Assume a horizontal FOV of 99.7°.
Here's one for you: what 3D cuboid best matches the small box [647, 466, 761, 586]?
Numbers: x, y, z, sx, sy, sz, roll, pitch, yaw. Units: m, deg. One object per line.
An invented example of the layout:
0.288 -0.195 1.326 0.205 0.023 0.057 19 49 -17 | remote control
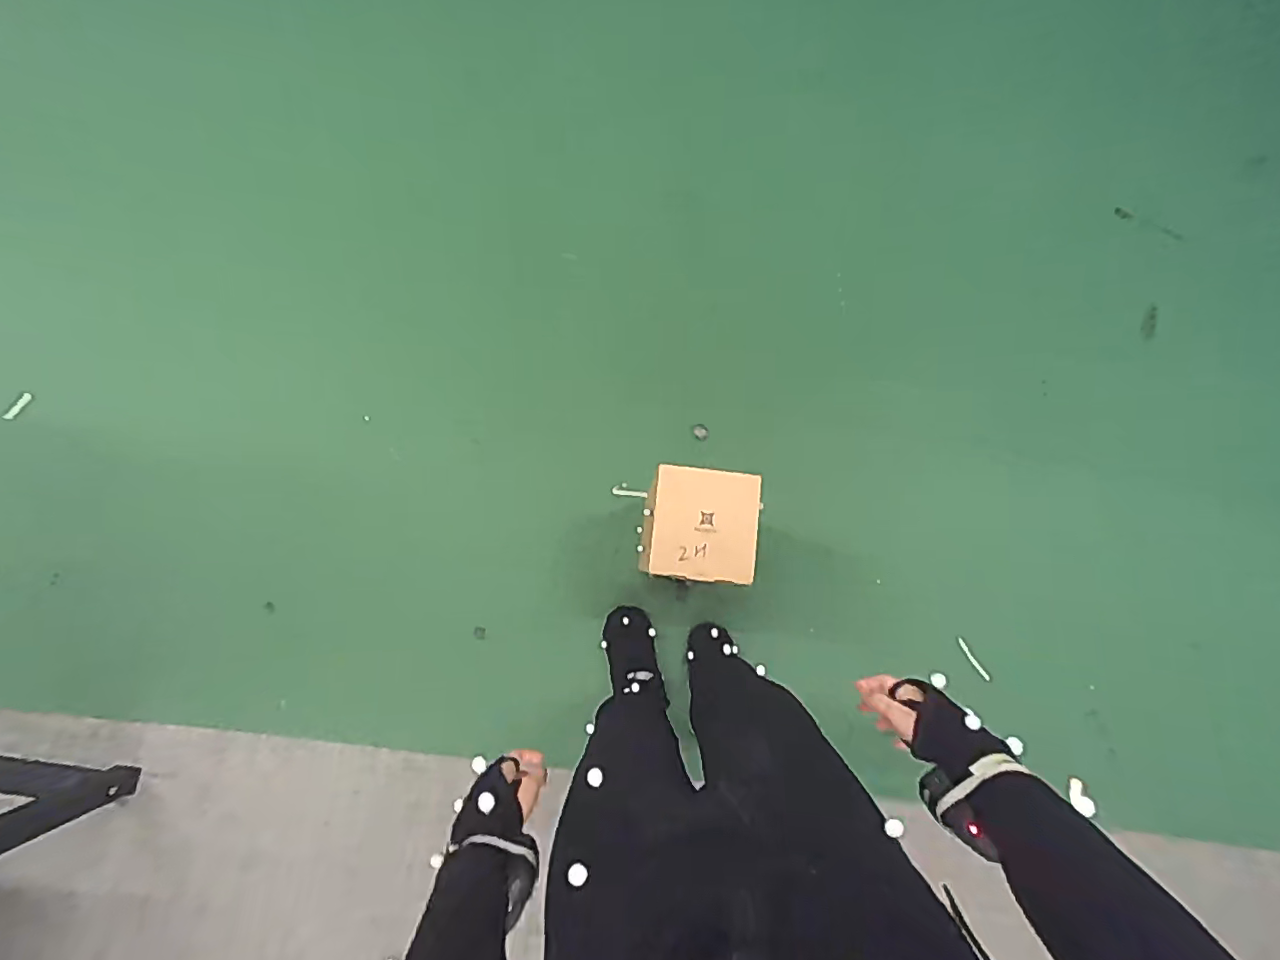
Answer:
0.102 0.083 0.929 0.168 0.176 0.179 6 82 0 | small box
